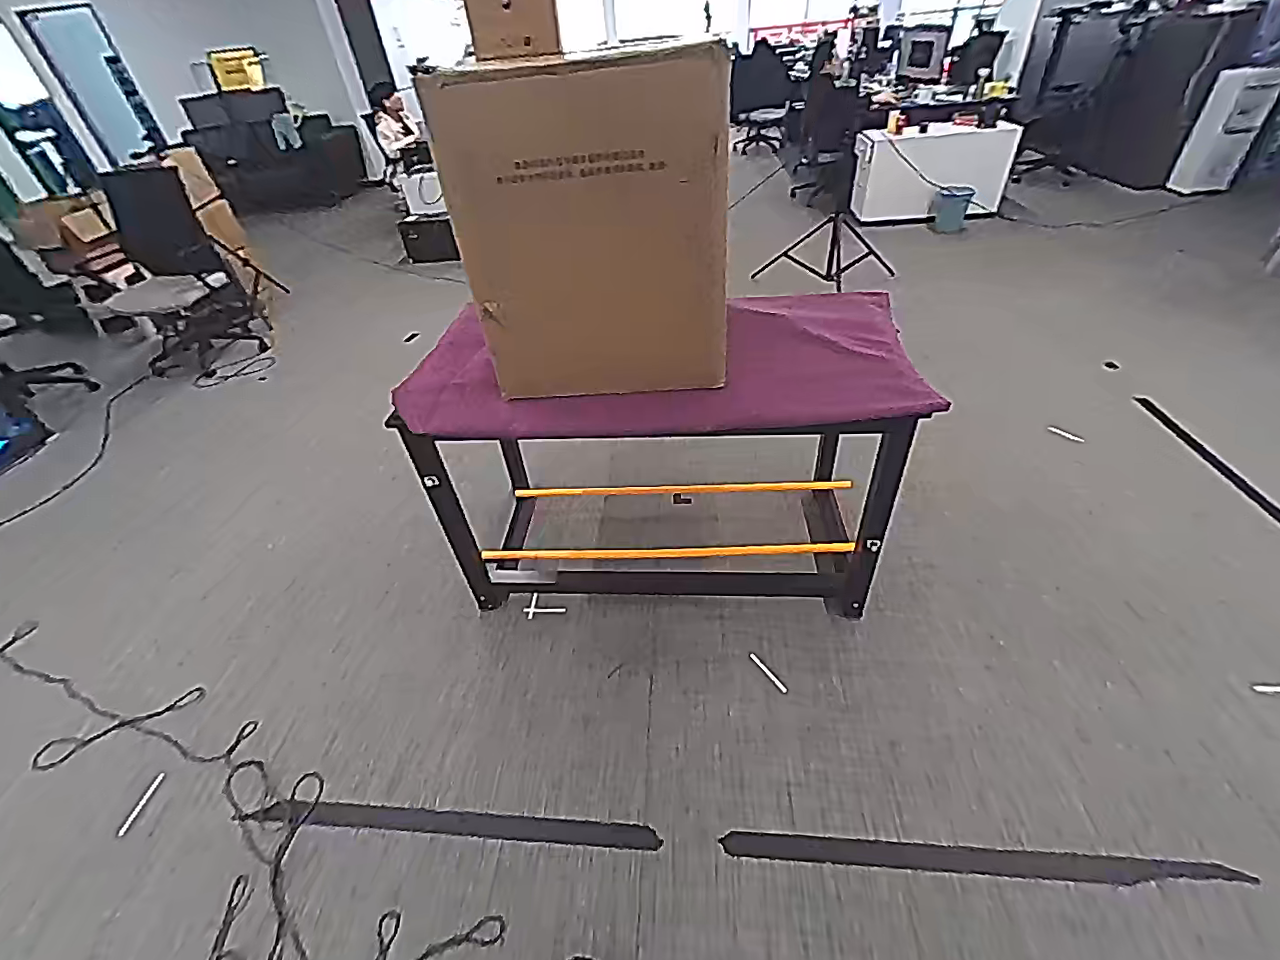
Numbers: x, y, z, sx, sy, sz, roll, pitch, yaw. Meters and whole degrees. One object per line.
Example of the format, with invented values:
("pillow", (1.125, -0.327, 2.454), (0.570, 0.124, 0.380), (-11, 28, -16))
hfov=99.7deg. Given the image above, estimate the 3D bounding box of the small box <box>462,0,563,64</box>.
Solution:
("small box", (-0.240, -0.904, 1.029), (0.168, 0.176, 0.179), (-5, 40, -1))
